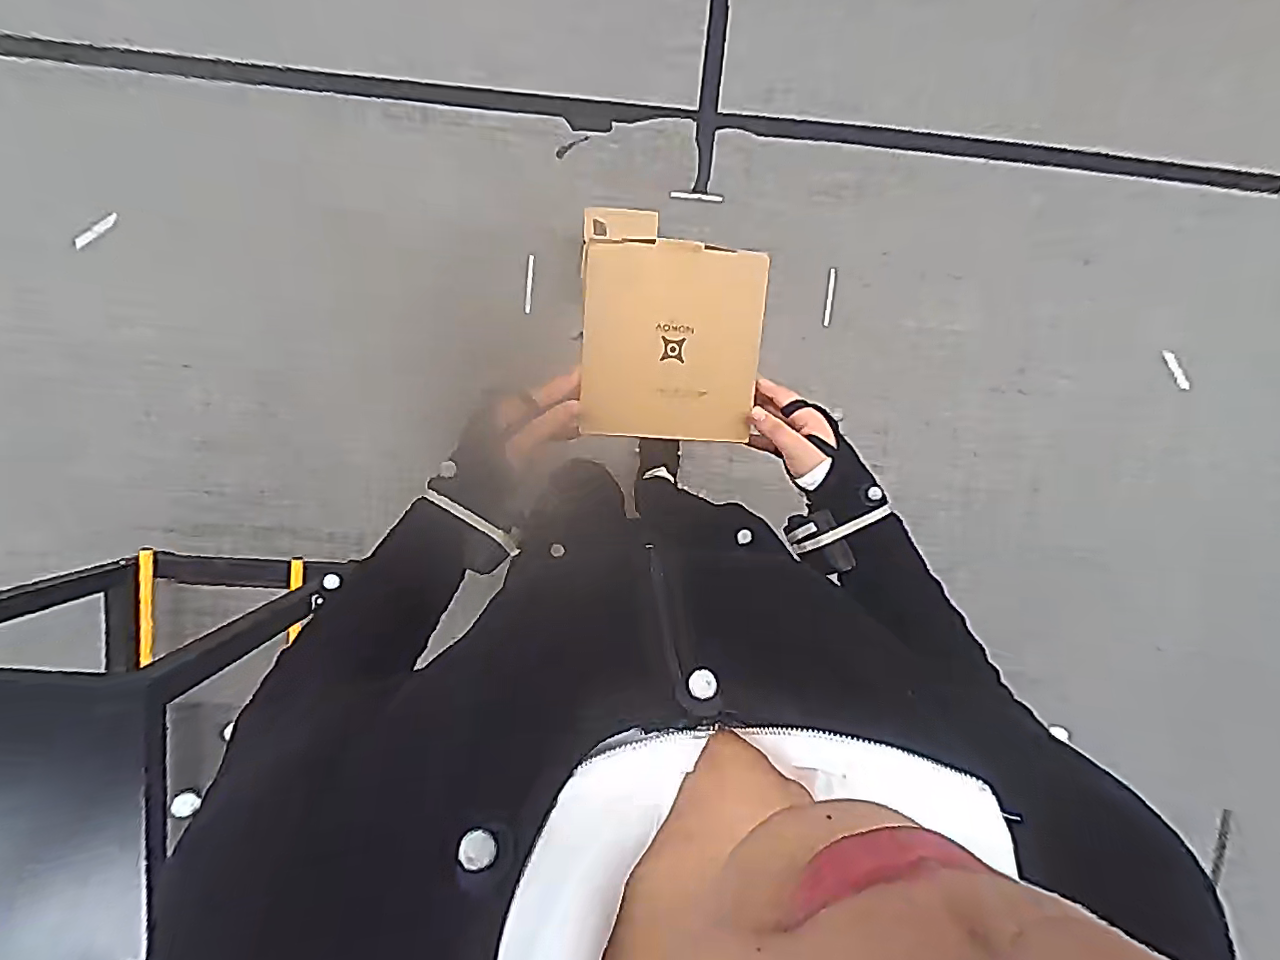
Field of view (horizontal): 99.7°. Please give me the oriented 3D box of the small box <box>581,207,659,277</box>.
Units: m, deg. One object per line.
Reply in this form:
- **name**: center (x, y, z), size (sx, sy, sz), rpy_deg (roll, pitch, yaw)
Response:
- **small box**: center (-0.049, -0.556, 1.341), size (0.179, 0.176, 0.168), rpy_deg (3, 96, -3)

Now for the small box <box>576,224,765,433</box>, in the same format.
- **small box**: center (0.019, -0.150, 0.572), size (0.168, 0.176, 0.179), rpy_deg (3, 102, -6)
